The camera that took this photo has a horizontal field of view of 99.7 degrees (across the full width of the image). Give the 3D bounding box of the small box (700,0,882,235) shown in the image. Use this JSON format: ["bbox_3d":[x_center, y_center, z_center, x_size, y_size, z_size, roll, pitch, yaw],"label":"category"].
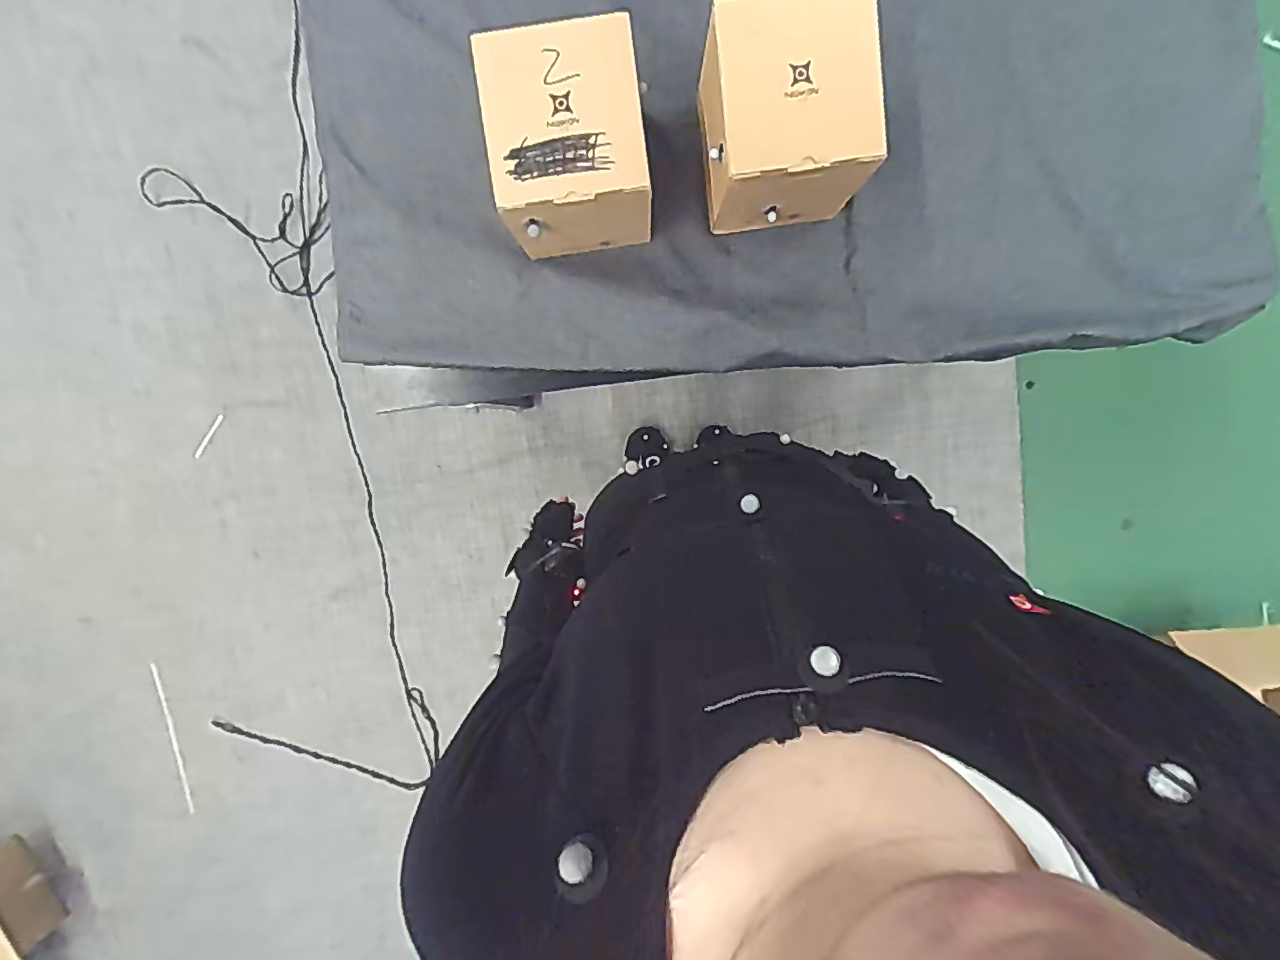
[{"bbox_3d":[0.167,-0.420,0.648,0.168,0.176,0.179,-7,96,2],"label":"small box"}]
